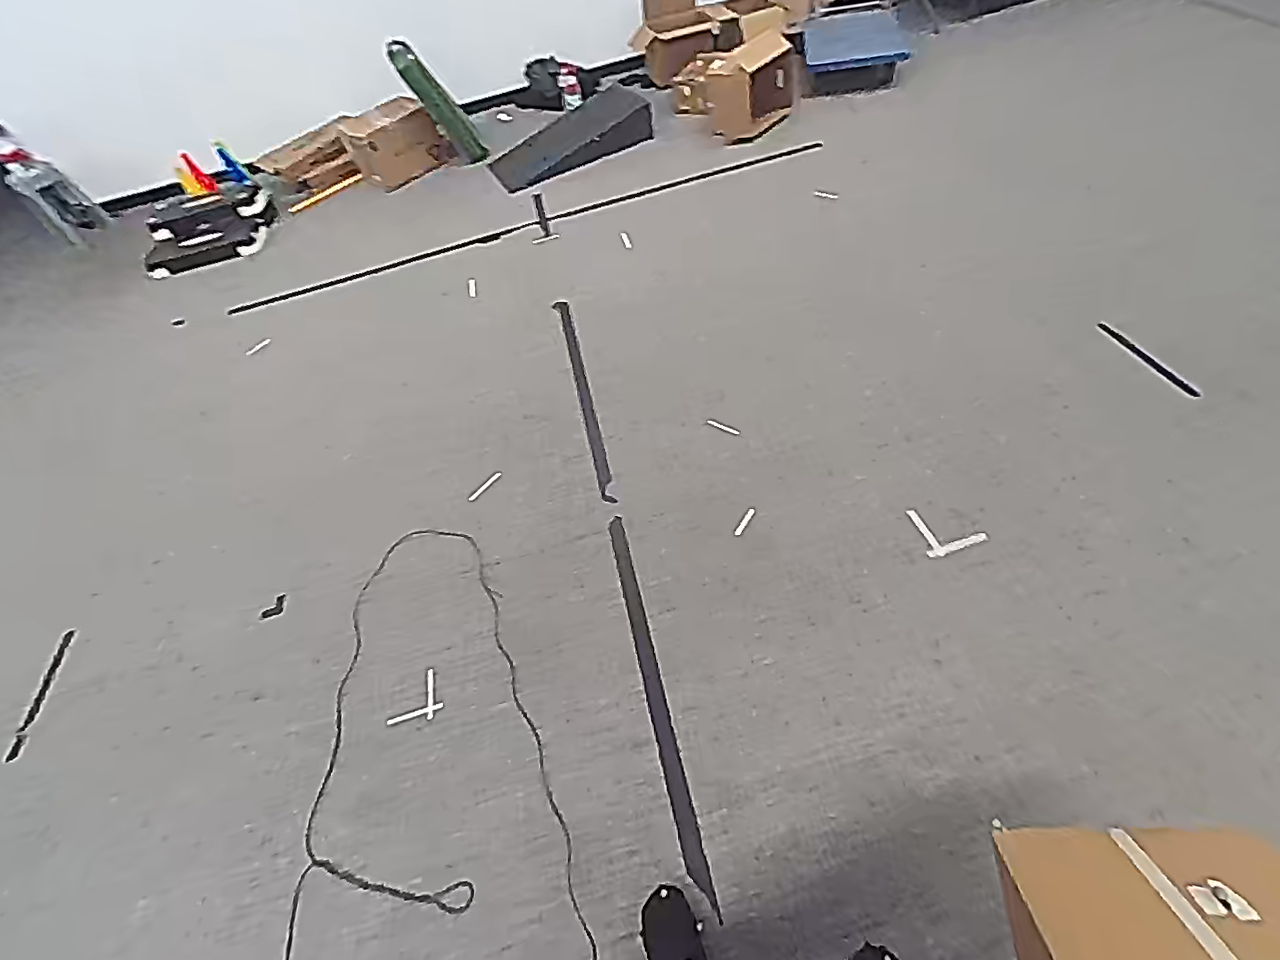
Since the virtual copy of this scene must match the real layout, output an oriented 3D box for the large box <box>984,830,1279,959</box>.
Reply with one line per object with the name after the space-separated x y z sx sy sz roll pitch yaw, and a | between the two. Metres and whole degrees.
0.638 0.657 0.579 0.320 0.408 0.320 -10 87 16 | large box
